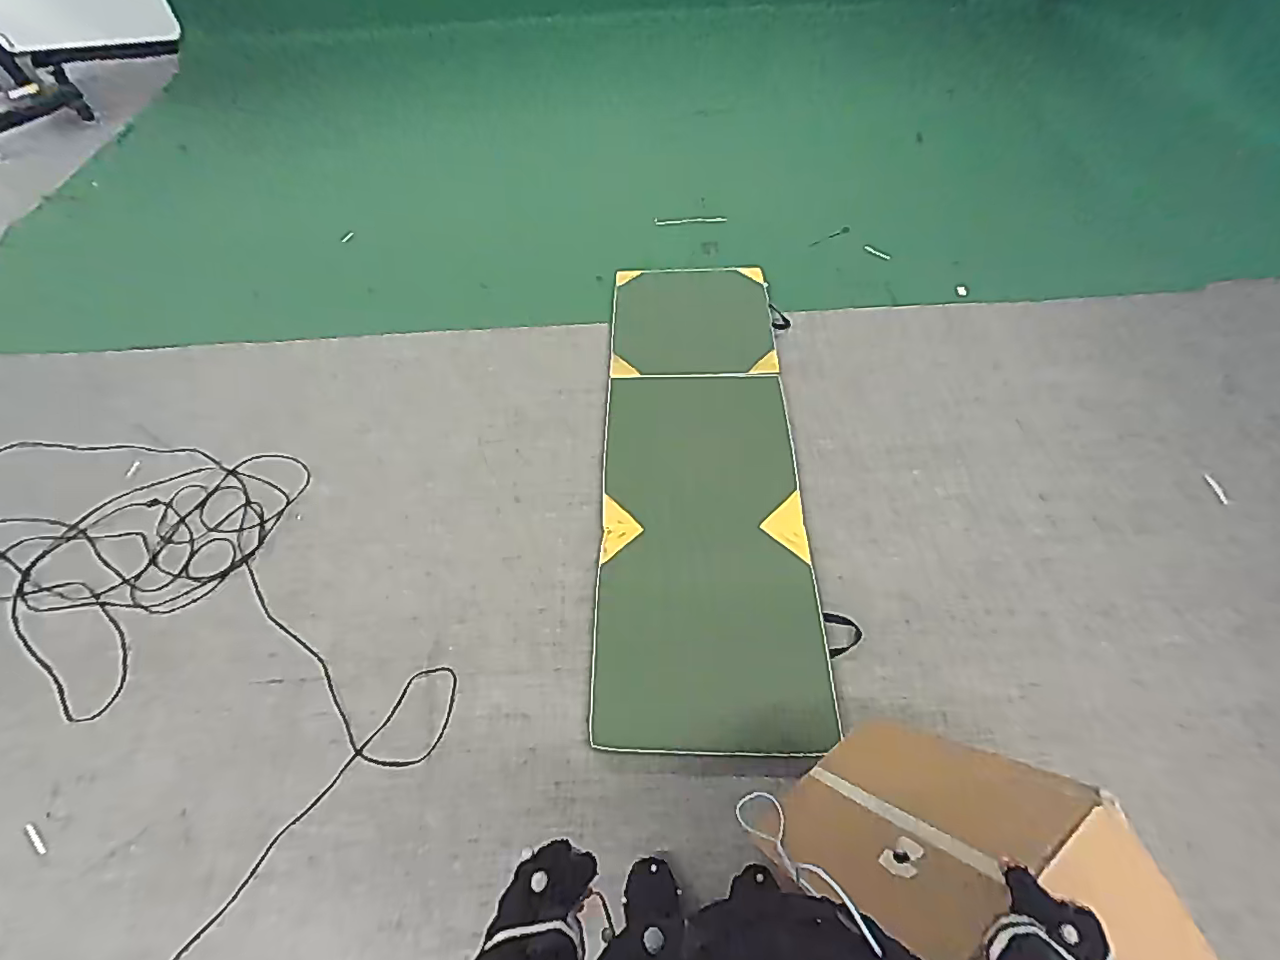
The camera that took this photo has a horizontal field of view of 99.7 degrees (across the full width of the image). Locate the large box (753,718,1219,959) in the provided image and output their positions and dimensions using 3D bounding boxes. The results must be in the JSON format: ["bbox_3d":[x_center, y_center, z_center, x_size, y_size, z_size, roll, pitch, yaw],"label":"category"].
[{"bbox_3d":[0.434,0.586,0.737,0.320,0.408,0.320,-32,87,-20],"label":"large box"}]
